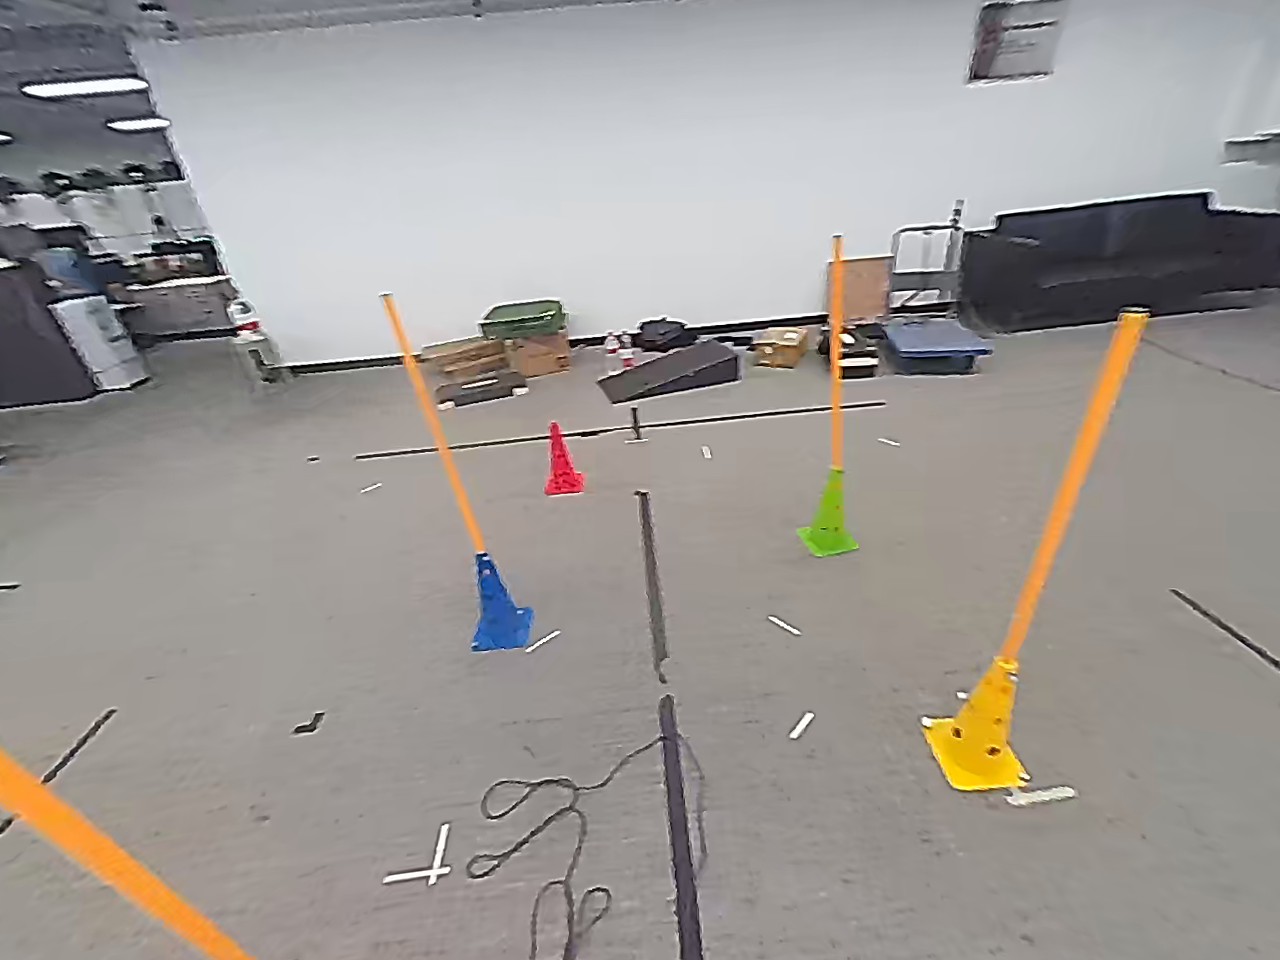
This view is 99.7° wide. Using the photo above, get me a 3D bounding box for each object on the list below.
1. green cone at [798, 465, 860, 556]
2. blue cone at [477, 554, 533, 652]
[{"bbox_3d":[0.788,0.101,2.208,0.200,0.368,0.202,-11,32,-9],"label":"green cone"},{"bbox_3d":[-0.506,0.413,1.905,0.193,0.380,0.192,-4,30,2],"label":"blue cone"}]
